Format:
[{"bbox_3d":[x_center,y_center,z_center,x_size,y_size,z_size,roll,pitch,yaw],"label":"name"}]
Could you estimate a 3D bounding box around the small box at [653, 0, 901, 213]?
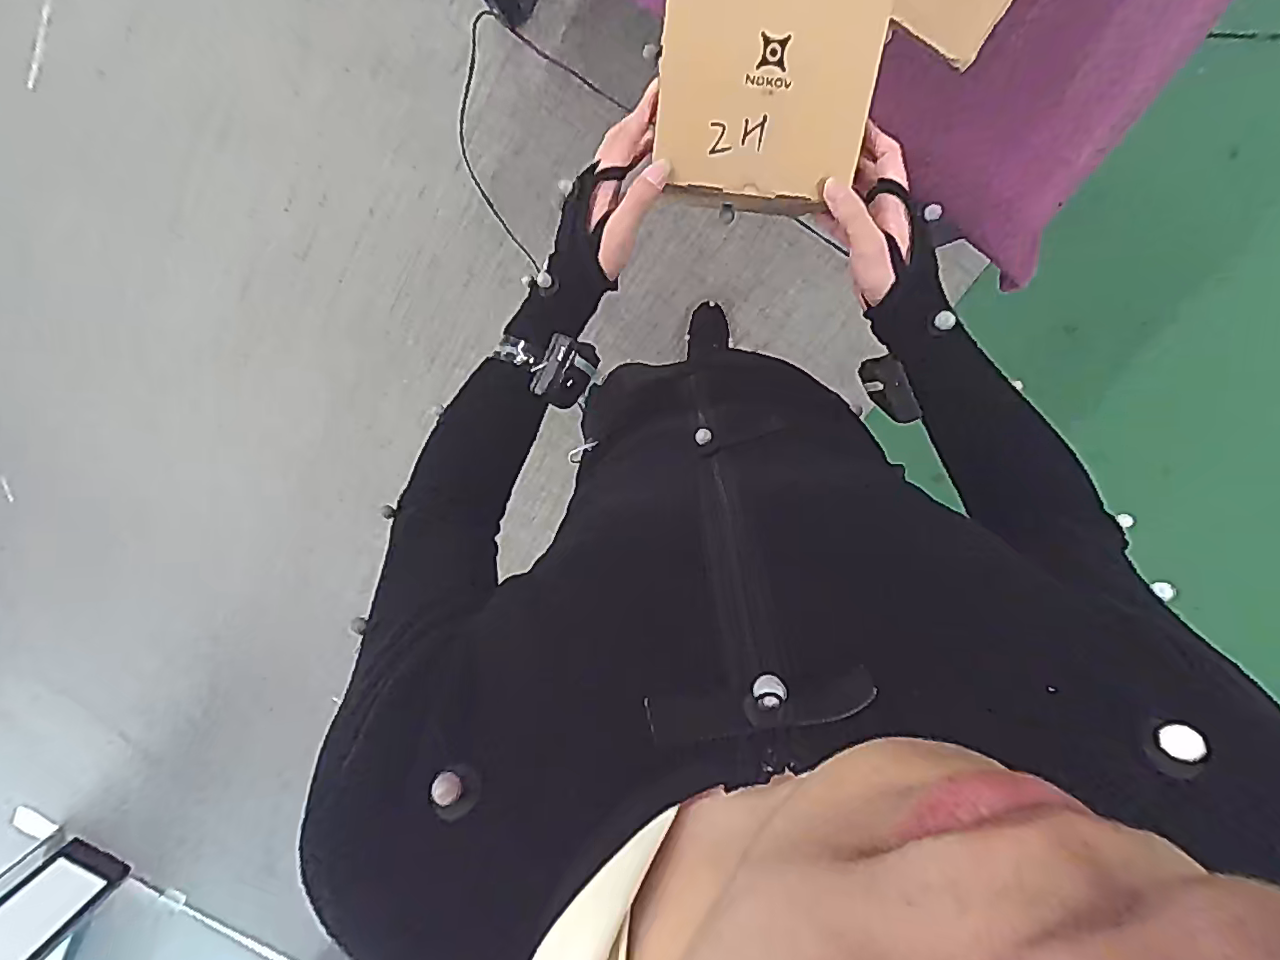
[{"bbox_3d":[0.102,-0.346,0.476,0.168,0.176,0.179,7,113,-2],"label":"small box"}]
